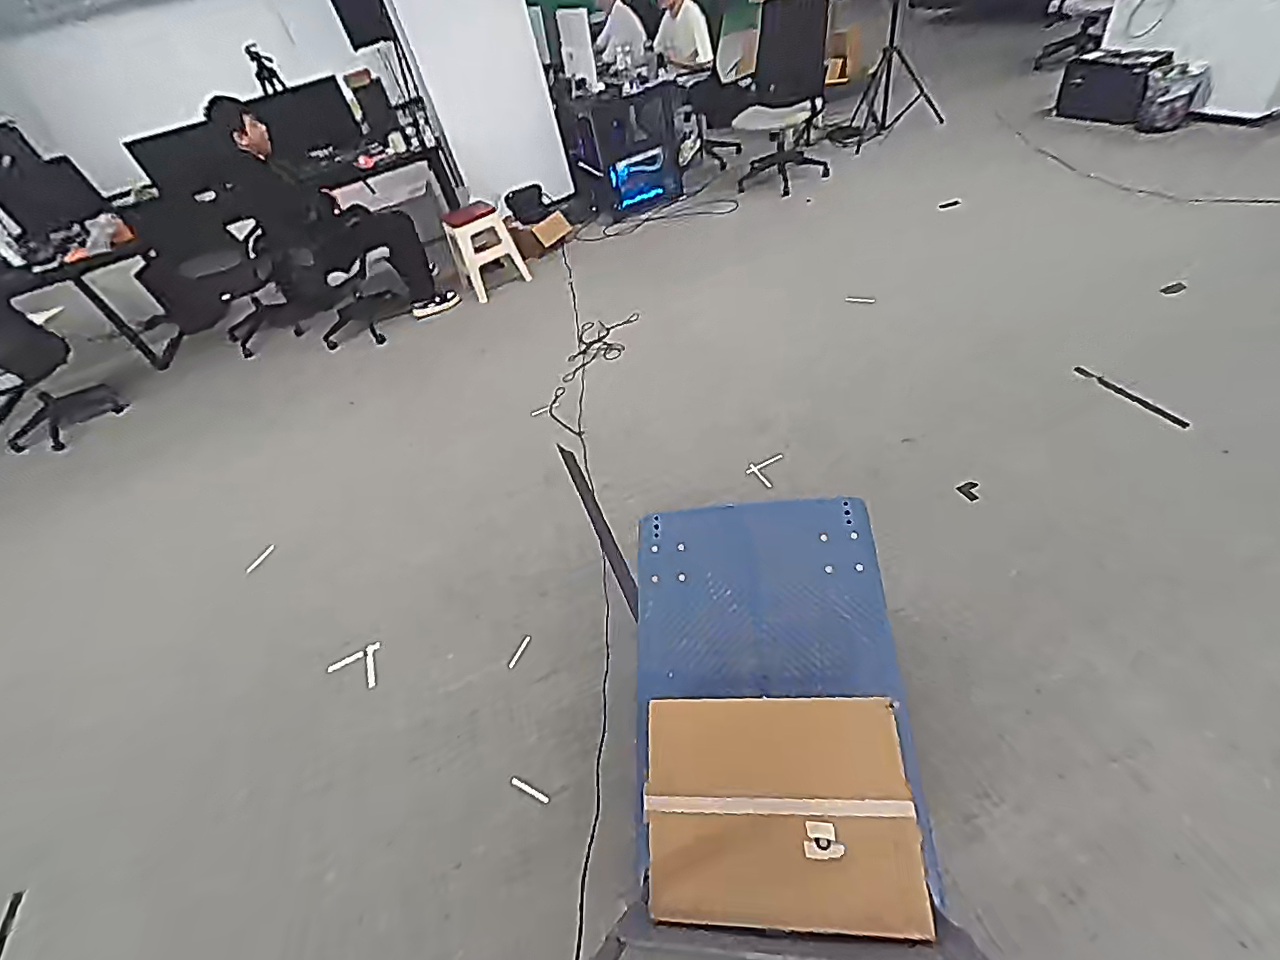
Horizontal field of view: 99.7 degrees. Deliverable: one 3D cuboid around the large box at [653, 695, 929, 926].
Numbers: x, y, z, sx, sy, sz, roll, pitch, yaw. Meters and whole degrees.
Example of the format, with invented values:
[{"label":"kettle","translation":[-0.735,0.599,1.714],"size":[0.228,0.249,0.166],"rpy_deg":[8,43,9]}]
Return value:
[{"label":"large box","translation":[0.246,0.582,0.997],"size":[0.408,0.320,0.320],"rpy_deg":[-5,63,10]}]
